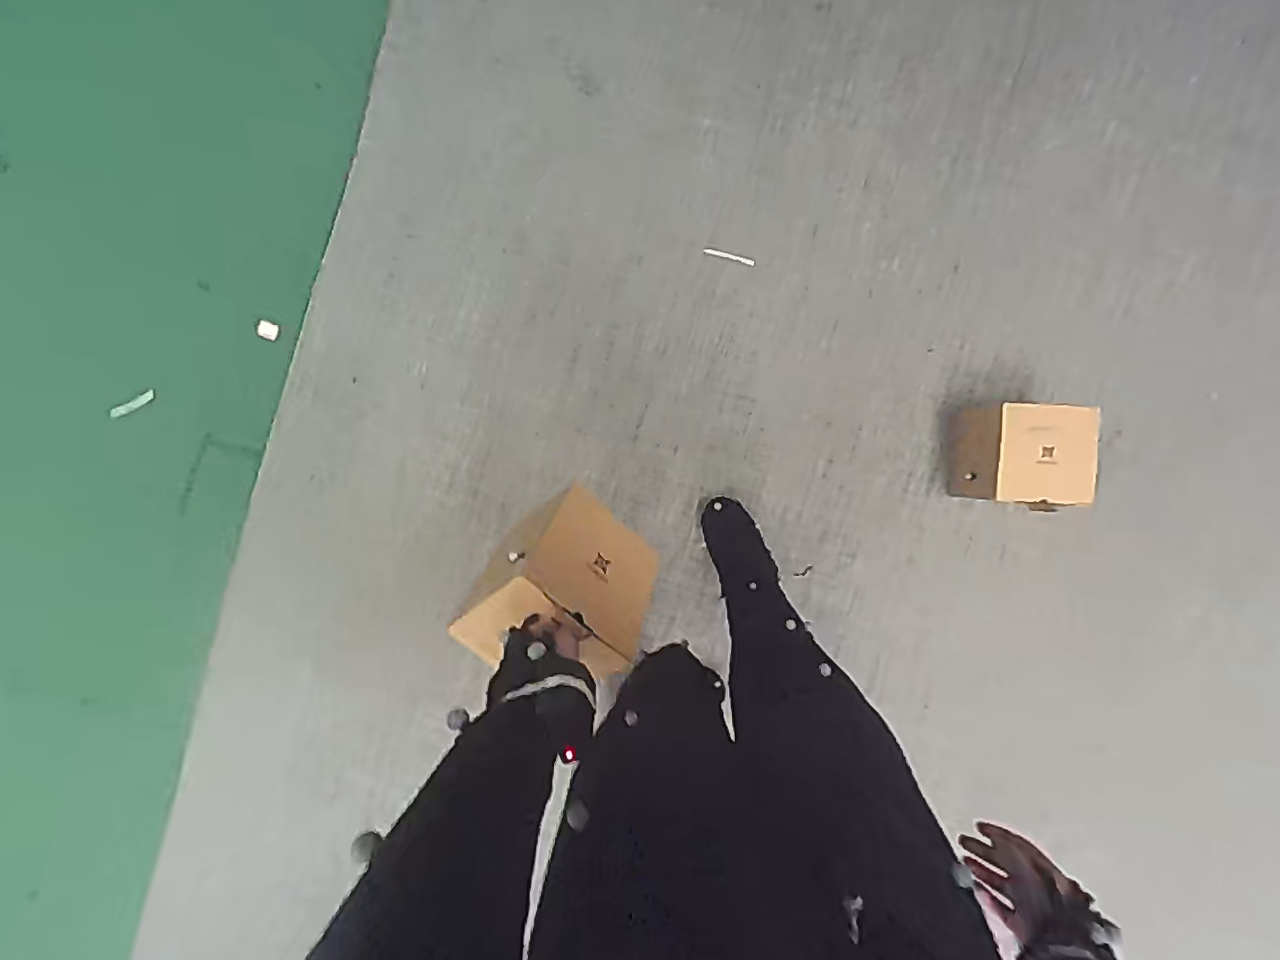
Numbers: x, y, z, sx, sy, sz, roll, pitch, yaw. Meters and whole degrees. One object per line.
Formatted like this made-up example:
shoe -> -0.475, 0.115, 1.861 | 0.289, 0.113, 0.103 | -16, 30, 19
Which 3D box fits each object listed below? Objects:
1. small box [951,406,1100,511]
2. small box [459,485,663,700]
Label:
small box -> 0.712, -0.038, 1.018 | 0.168, 0.176, 0.179 | 3, 90, 3
small box -> -0.099, 0.145, 0.693 | 0.168, 0.179, 0.176 | 44, 124, -15
